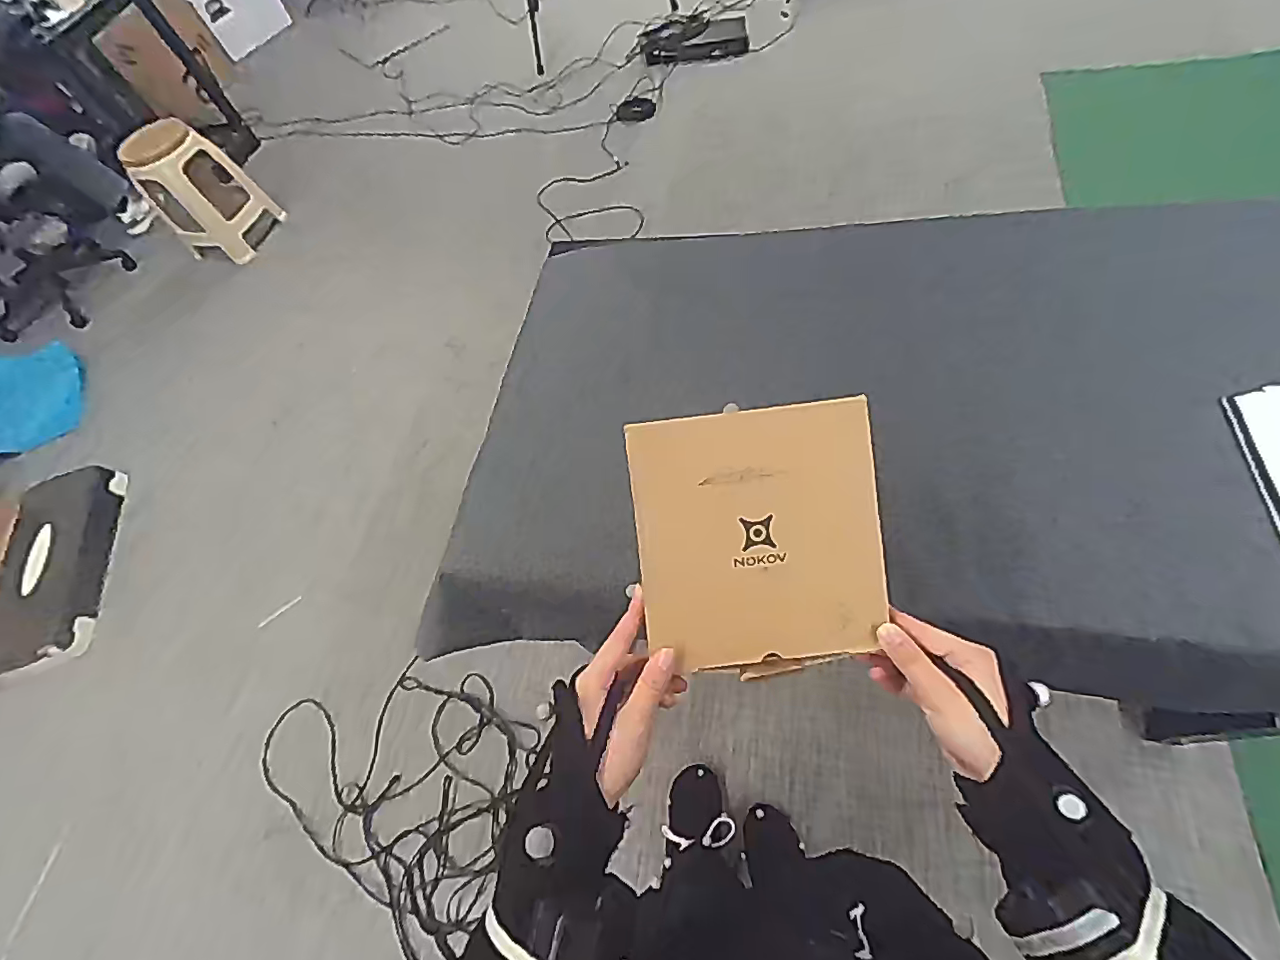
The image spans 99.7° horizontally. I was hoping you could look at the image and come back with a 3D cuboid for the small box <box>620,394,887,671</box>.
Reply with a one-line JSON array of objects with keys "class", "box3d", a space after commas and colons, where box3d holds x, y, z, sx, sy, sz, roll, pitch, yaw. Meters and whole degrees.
[{"class": "small box", "box3d": [0.078, 0.035, 0.444, 0.168, 0.176, 0.179, -7, 90, 1]}]
